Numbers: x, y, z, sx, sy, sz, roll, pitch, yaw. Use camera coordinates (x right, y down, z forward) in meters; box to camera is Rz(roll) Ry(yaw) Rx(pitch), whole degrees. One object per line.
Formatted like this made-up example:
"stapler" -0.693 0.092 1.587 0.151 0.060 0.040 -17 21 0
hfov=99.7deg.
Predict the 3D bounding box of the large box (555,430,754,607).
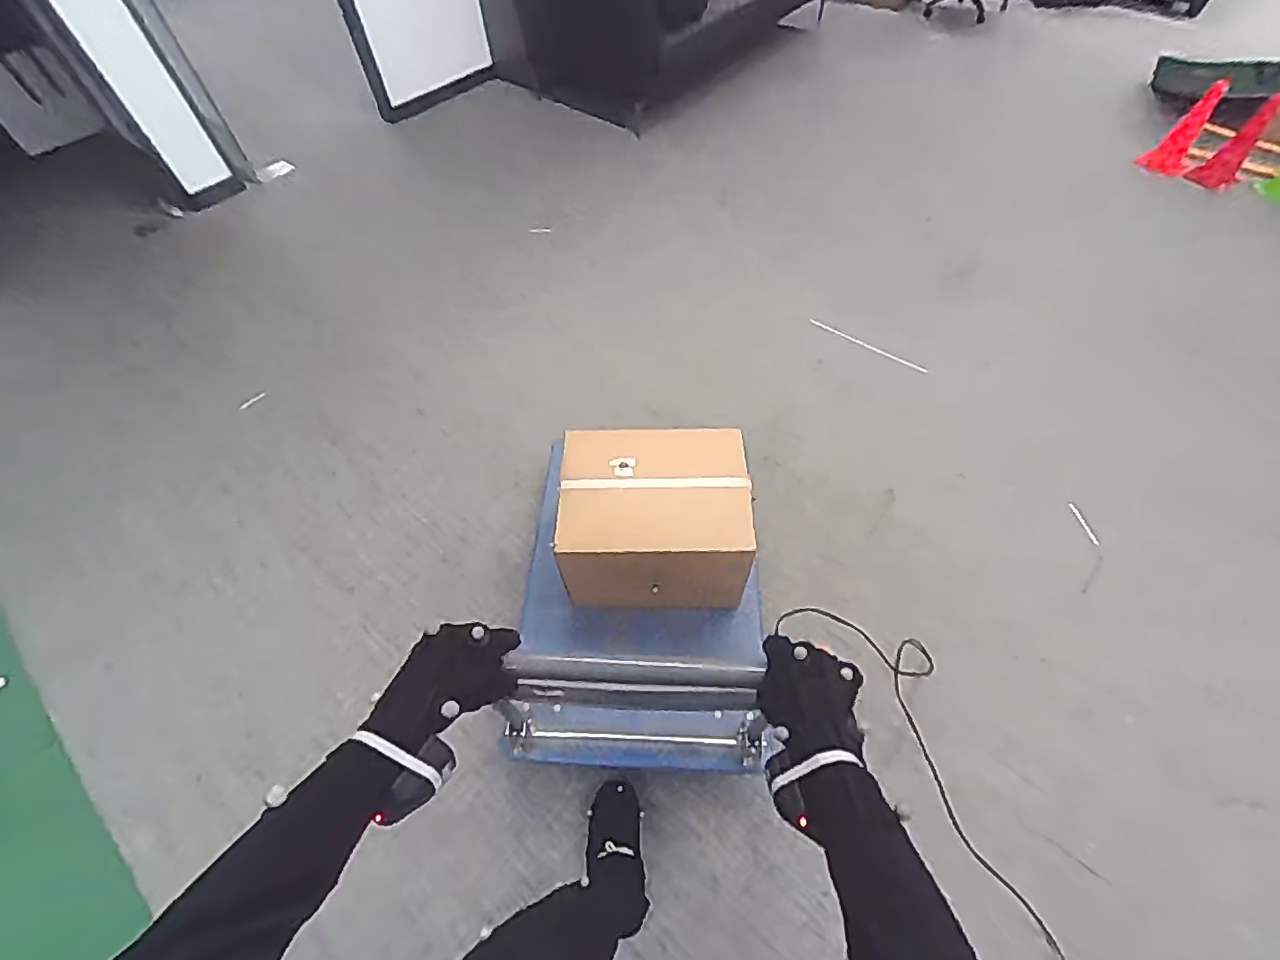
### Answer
"large box" 0.032 0.101 1.280 0.408 0.320 0.320 -1 55 1
